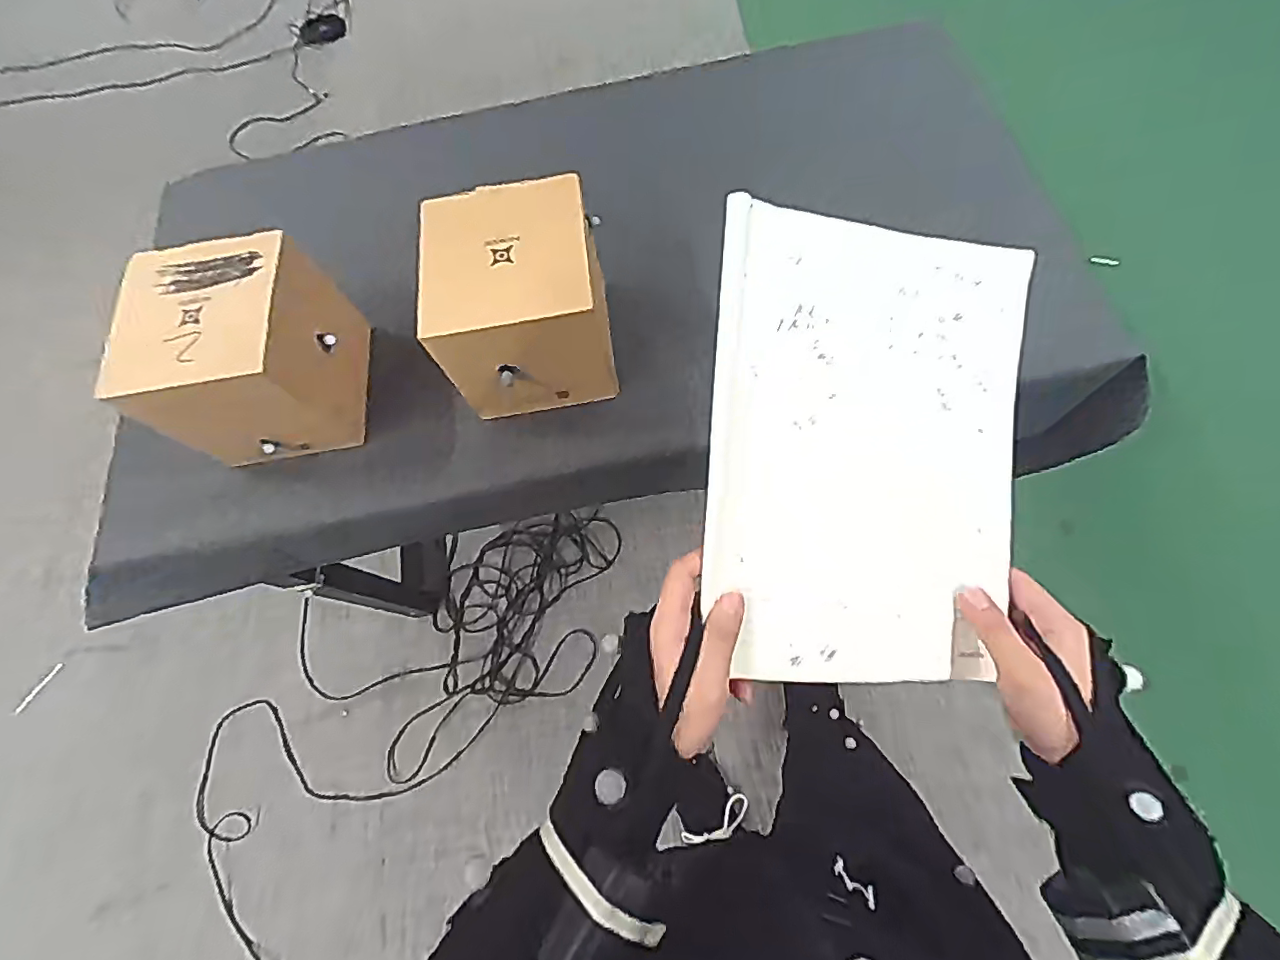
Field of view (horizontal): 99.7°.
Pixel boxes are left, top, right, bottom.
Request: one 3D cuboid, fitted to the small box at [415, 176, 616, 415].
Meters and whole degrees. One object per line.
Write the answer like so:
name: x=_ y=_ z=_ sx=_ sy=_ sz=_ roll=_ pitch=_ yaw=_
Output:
small box: x=-0.124 y=-0.184 z=0.588 sx=0.168 sy=0.176 sz=0.179 roll=-9 pitch=67 yaw=3
